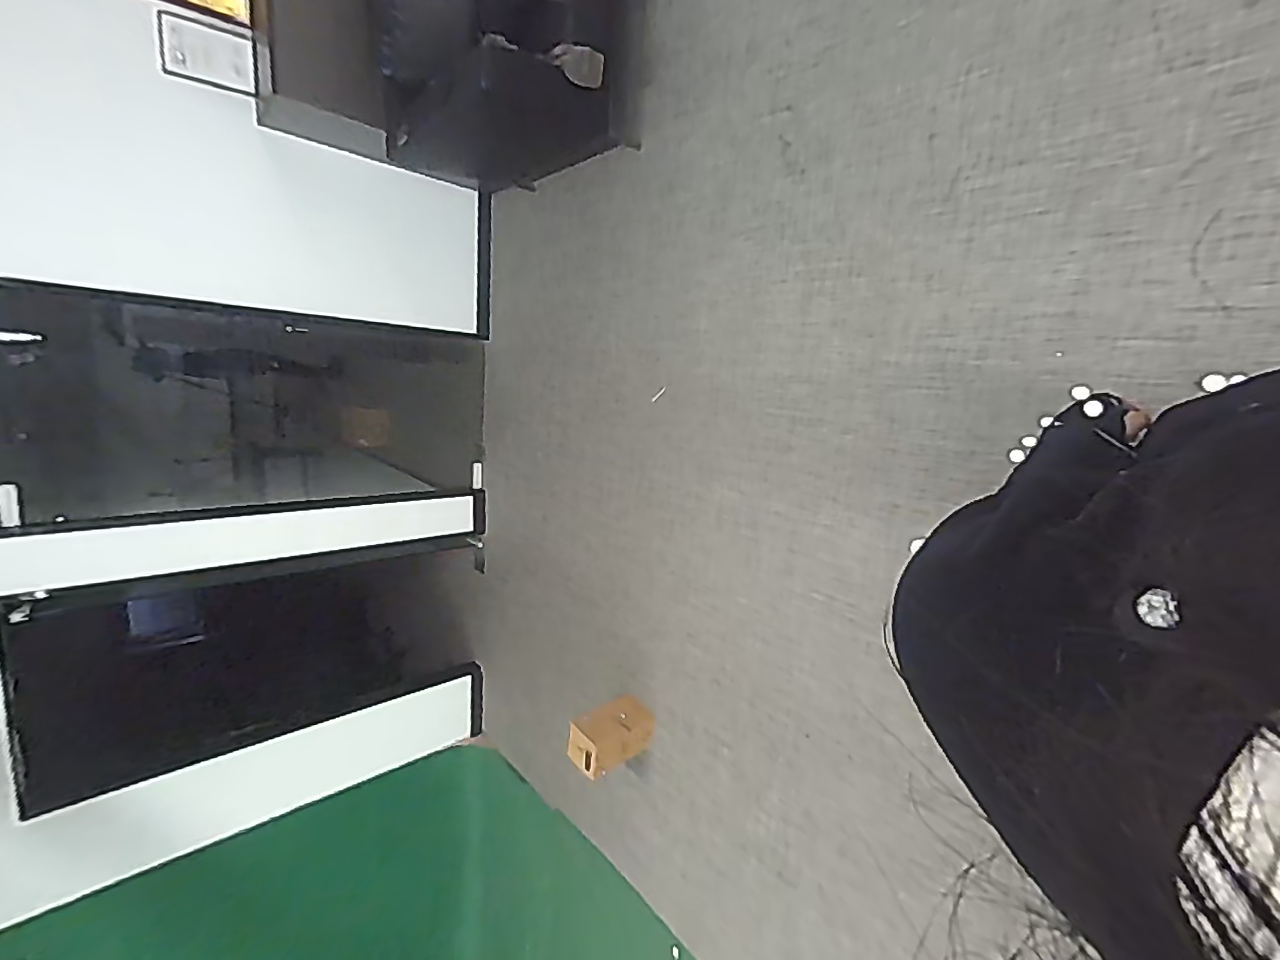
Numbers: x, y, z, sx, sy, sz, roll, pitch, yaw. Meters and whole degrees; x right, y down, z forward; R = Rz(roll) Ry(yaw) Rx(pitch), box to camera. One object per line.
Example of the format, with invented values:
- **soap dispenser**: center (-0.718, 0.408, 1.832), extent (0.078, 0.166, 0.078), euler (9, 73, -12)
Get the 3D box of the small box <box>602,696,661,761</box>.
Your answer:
- **small box**: center (-0.038, 1.067, 2.346), extent (0.179, 0.176, 0.168), euler (29, 115, 41)
